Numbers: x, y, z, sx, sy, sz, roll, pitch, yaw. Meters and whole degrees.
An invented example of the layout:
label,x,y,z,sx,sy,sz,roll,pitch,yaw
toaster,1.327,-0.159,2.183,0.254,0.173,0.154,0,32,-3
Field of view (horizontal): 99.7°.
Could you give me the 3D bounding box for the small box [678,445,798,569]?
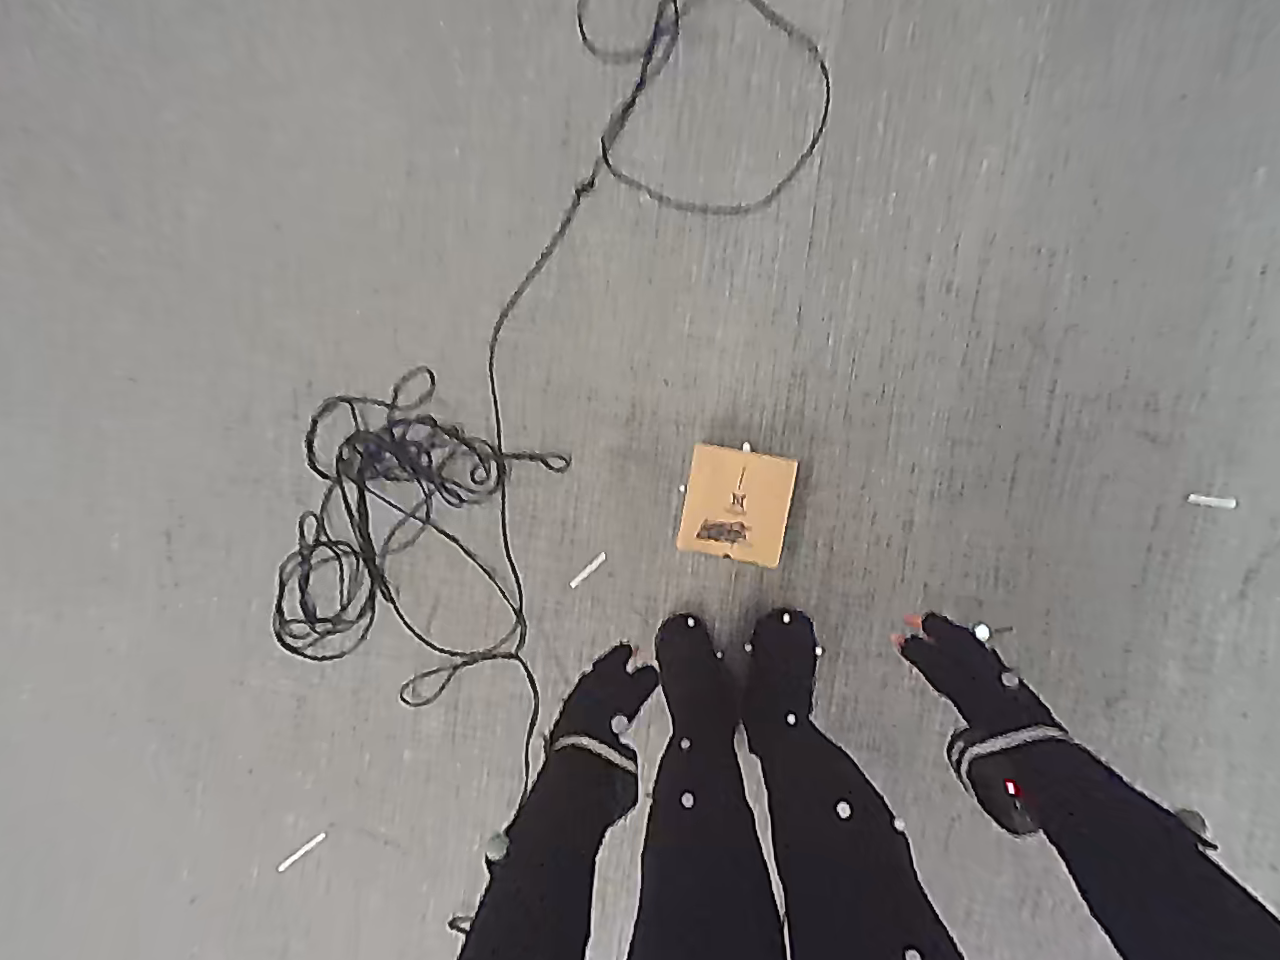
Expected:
label,x,y,z,sx,sy,sz,roll,pitch,yaw
small box,0.166,0.040,0.944,0.168,0.176,0.179,10,93,7
